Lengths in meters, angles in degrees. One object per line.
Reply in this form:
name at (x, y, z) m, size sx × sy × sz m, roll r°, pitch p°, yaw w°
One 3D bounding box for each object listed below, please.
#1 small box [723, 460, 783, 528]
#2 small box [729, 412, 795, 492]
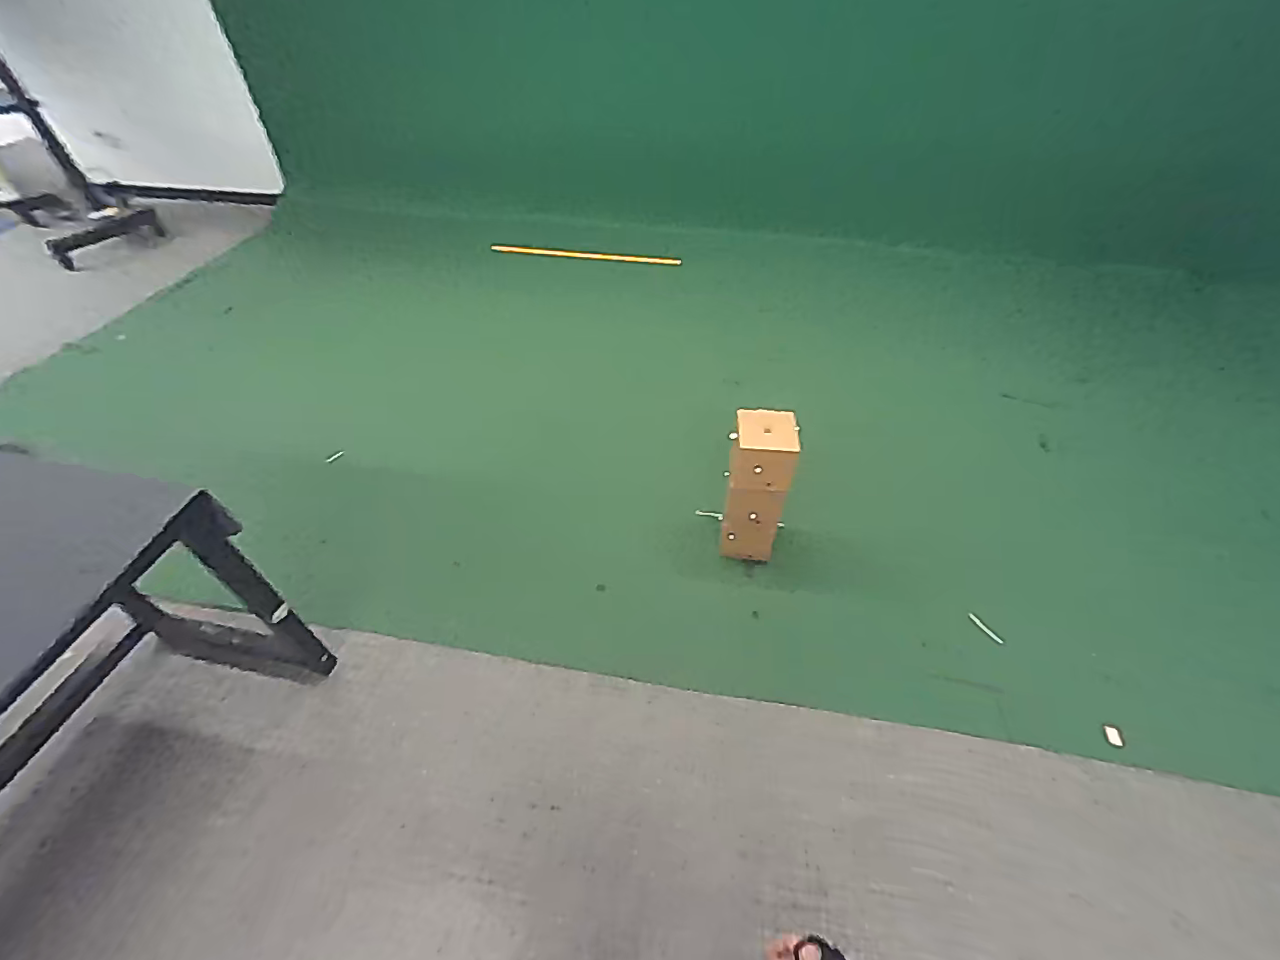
small box at (0.355, 0.029, 1.723) m, size 0.168 × 0.176 × 0.179 m, roll 5°, pitch 46°, yaw 5°
small box at (0.356, -0.082, 1.604) m, size 0.168 × 0.176 × 0.179 m, roll 3°, pitch 45°, yaw 3°
